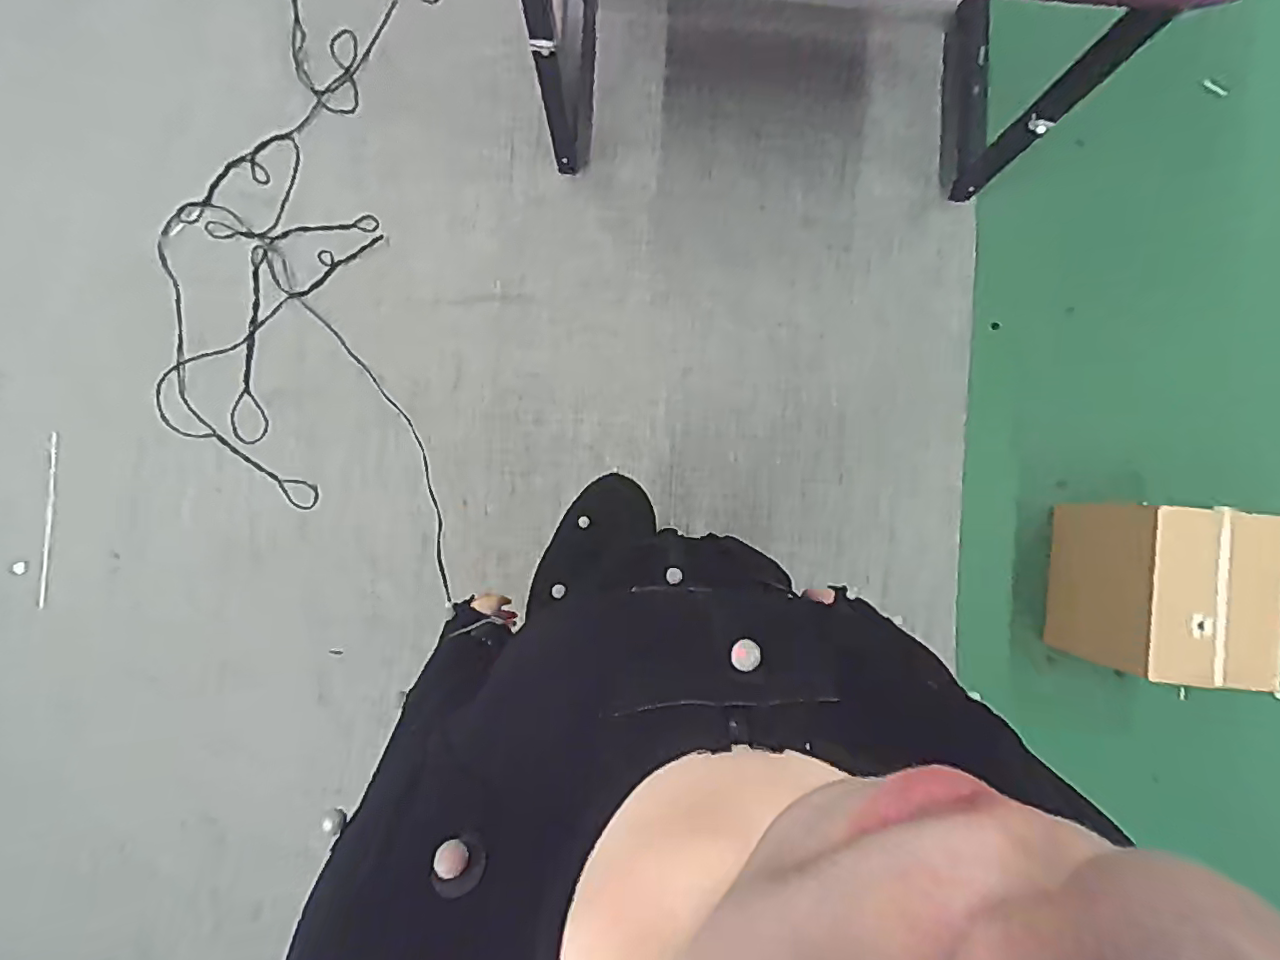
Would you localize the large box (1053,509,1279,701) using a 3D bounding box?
[{"bbox_3d":[1.304,0.285,1.351,0.320,0.320,0.408,6,88,0],"label":"large box"}]
